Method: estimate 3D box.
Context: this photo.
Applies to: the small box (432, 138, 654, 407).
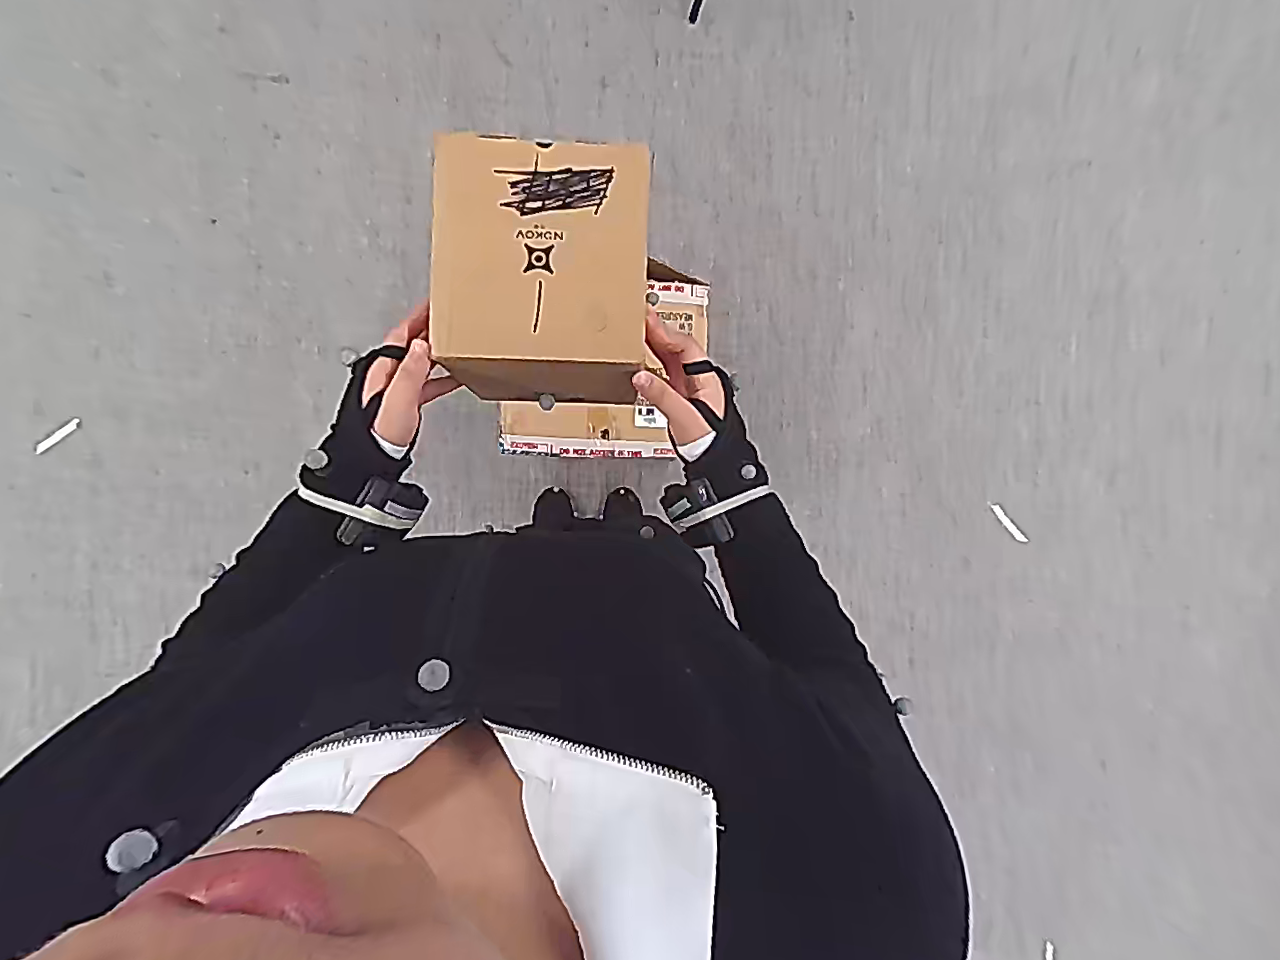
[{"bbox_3d":[-0.077,-0.171,0.495,0.168,0.176,0.179,1,87,-2],"label":"small box"}]
